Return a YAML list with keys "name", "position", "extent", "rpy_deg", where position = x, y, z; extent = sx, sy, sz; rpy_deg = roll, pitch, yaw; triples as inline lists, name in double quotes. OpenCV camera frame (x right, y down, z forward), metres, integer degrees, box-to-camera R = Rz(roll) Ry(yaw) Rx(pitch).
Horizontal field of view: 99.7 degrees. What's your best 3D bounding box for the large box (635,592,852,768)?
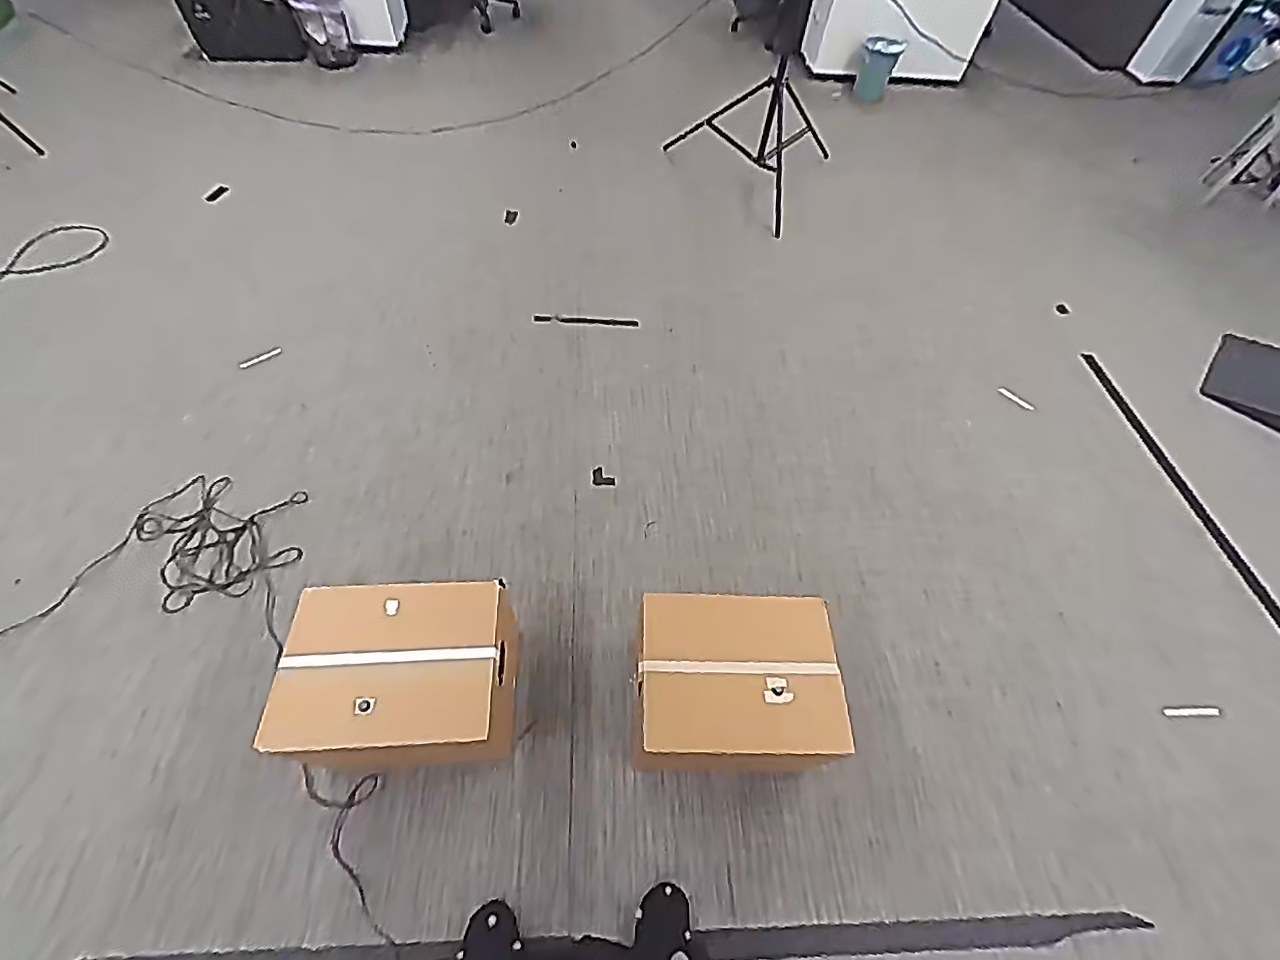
- name: "large box"
  position: [0.198, 0.461, 1.227]
  extent: [0.408, 0.320, 0.320]
  rpy_deg: [3, 56, -4]
